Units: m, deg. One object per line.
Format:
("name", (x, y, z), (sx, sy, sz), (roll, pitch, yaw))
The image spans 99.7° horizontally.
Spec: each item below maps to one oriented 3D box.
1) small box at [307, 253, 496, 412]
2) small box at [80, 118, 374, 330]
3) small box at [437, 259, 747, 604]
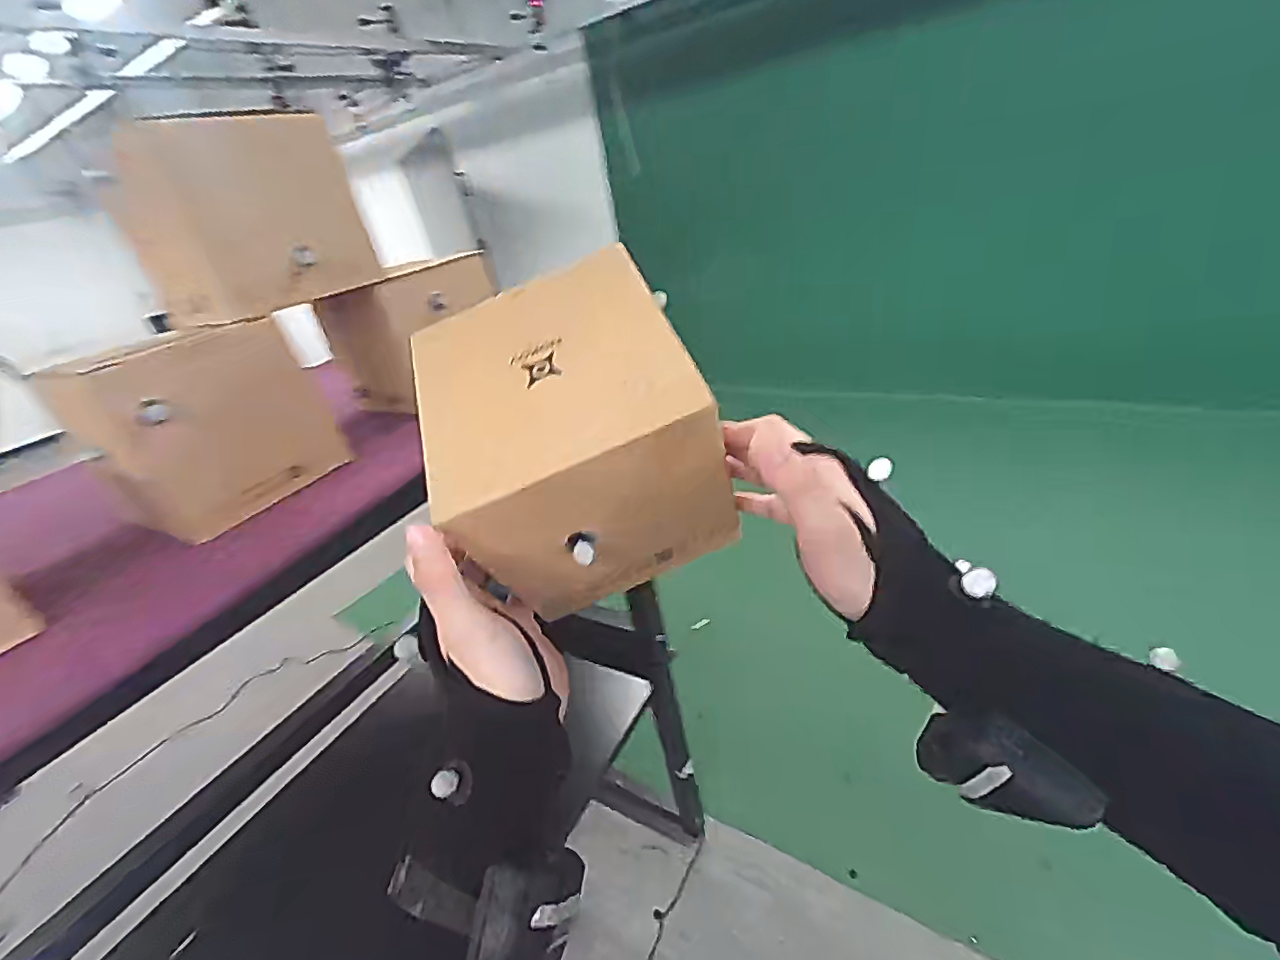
("small box", (-0.313, -0.204, 0.760), (0.168, 0.176, 0.179), (8, 35, 31))
("small box", (-0.416, -0.267, 0.576), (0.168, 0.176, 0.179), (8, 35, 33))
("small box", (-0.030, -0.024, 0.413), (0.168, 0.176, 0.179), (-23, 54, 2))
